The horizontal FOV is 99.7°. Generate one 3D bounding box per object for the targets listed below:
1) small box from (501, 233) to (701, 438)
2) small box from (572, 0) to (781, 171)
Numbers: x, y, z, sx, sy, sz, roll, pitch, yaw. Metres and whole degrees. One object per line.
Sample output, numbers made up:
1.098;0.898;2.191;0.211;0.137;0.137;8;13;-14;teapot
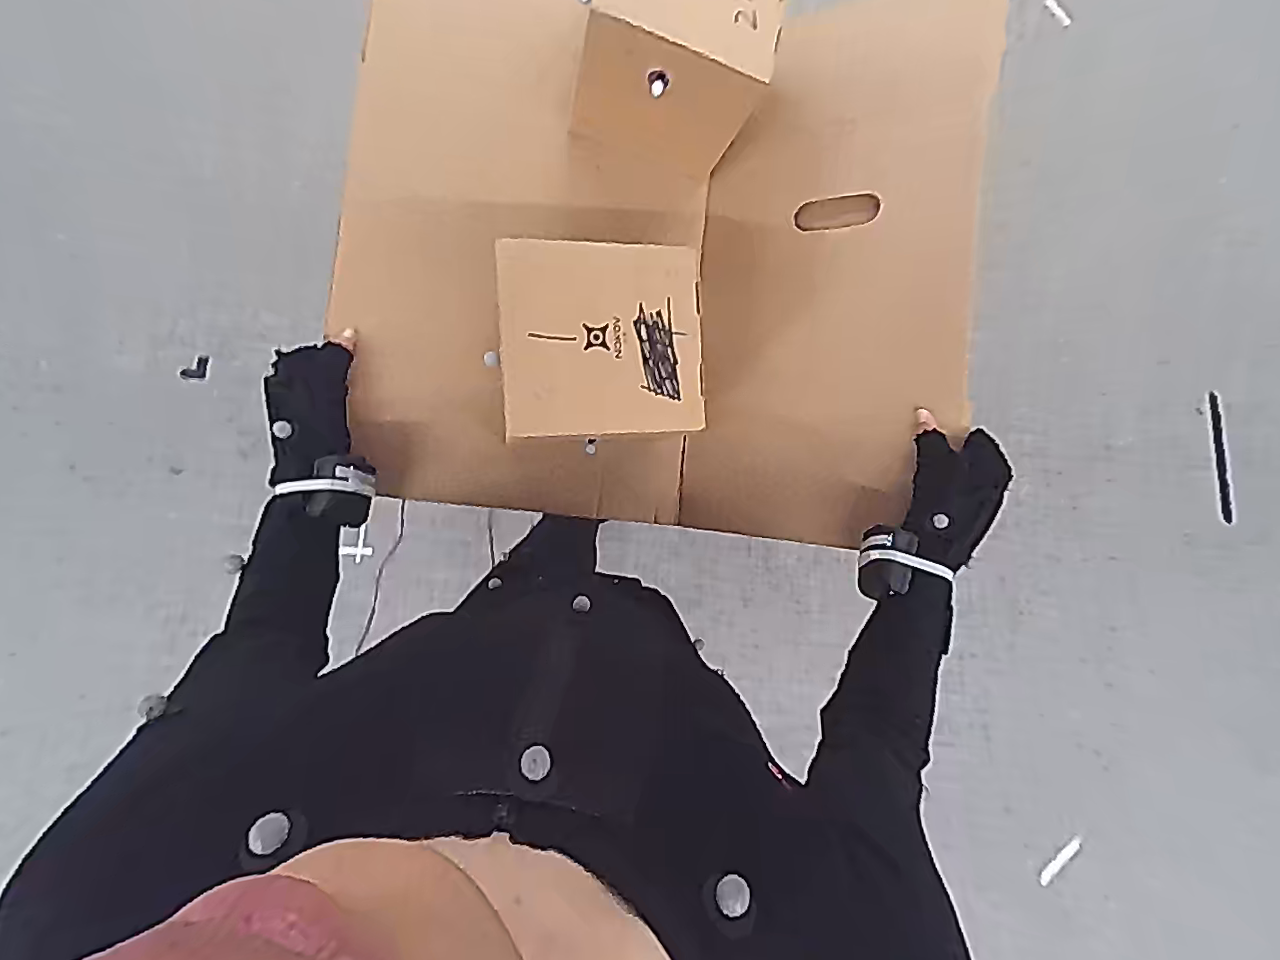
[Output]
-0.049;-0.132;0.555;0.179;0.176;0.168;-3;91;-13;small box
0.033;-0.471;0.577;0.179;0.176;0.168;13;87;-14;small box
